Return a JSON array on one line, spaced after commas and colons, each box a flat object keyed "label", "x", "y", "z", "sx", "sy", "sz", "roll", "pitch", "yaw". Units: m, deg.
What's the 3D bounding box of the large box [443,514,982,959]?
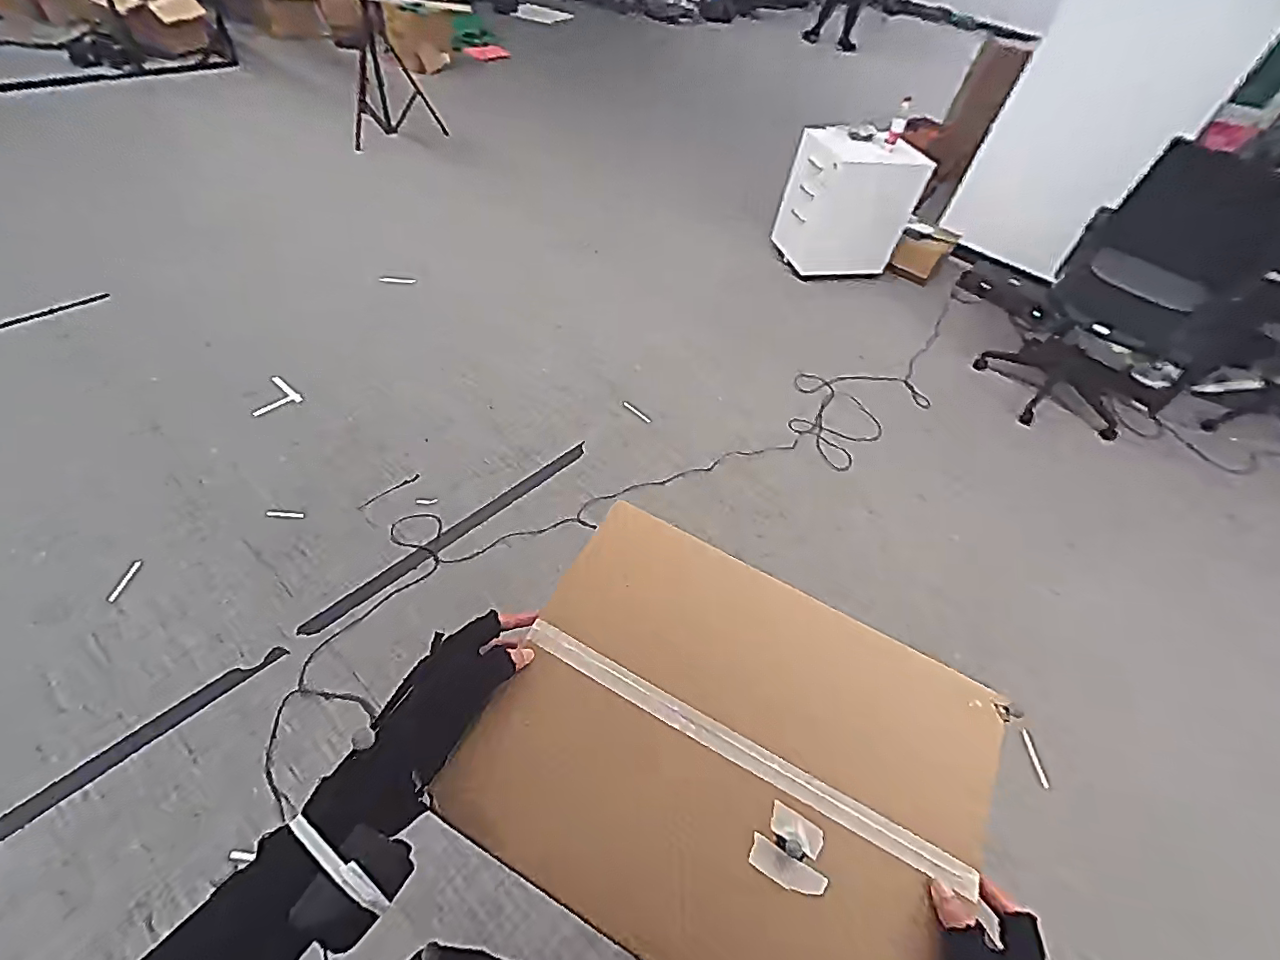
[{"label": "large box", "x": 0.069, "y": 0.305, "z": 0.603, "sx": 0.408, "sy": 0.320, "sz": 0.320, "roll": 27, "pitch": 62, "yaw": 11}]
